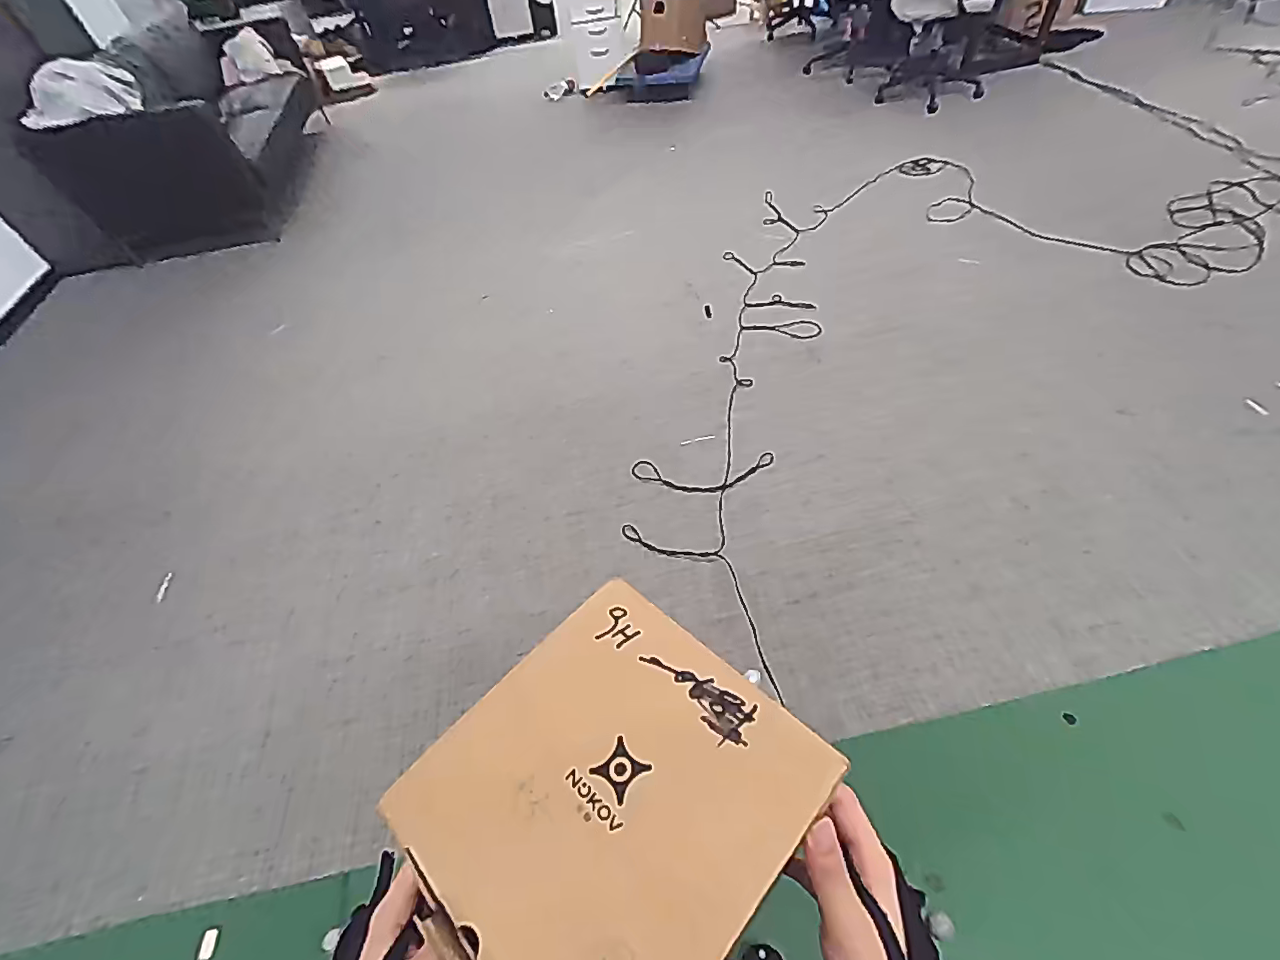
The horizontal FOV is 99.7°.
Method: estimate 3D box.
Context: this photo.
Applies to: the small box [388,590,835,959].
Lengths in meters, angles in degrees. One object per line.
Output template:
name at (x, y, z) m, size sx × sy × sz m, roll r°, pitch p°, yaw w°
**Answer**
small box at (-0.006, 0.211, 0.332) m, size 0.168 × 0.176 × 0.179 m, roll 33°, pitch 61°, yaw 32°
